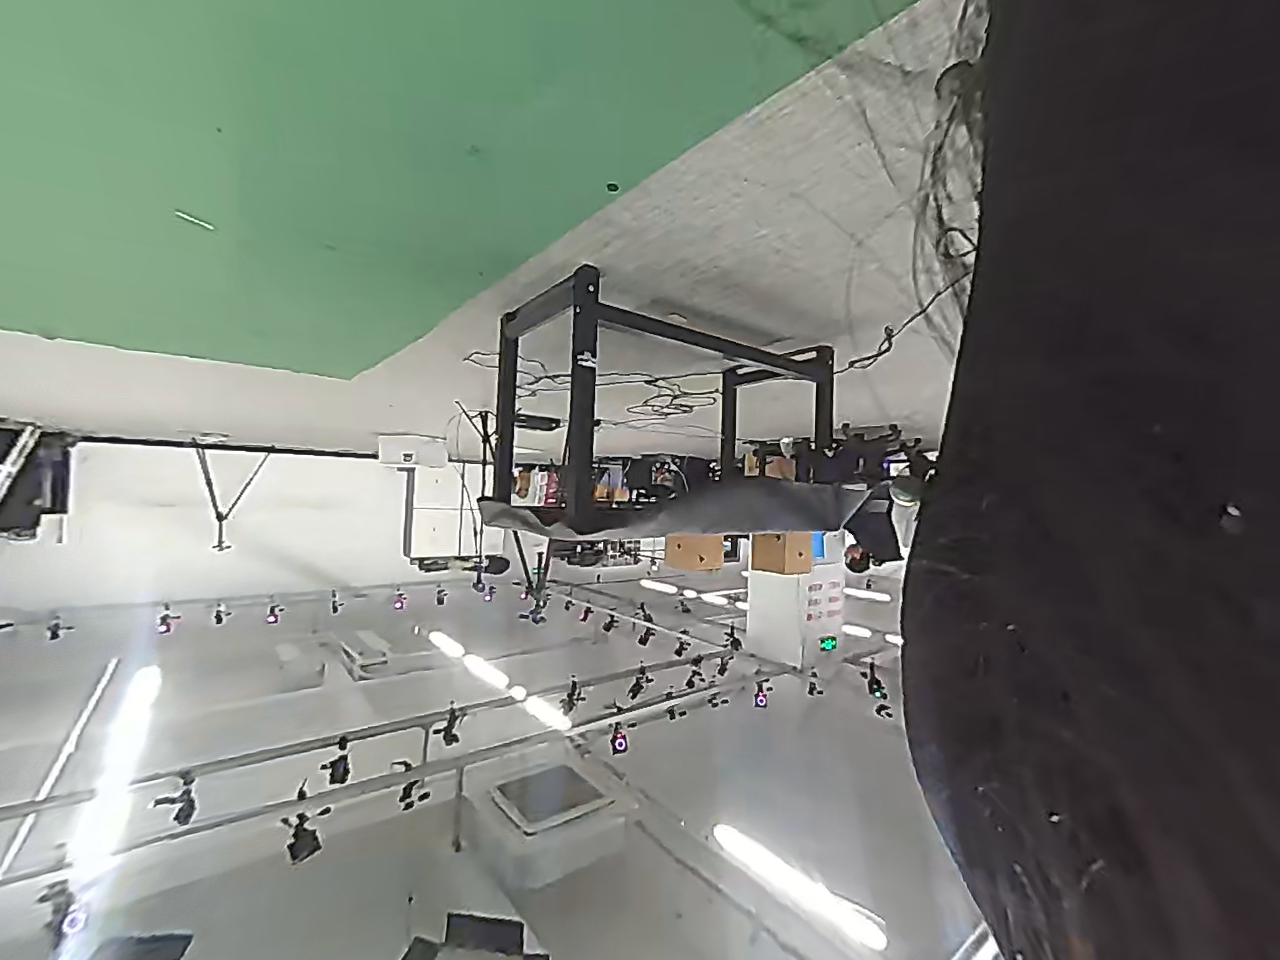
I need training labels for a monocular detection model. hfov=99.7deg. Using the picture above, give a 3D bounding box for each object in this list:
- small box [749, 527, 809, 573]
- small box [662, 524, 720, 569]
[{"bbox_3d":[0.548,0.271,2.135,0.179,0.176,0.168,3,178,-38],"label":"small box"},{"bbox_3d":[0.204,0.262,2.164,0.179,0.176,0.168,4,176,-40],"label":"small box"}]
